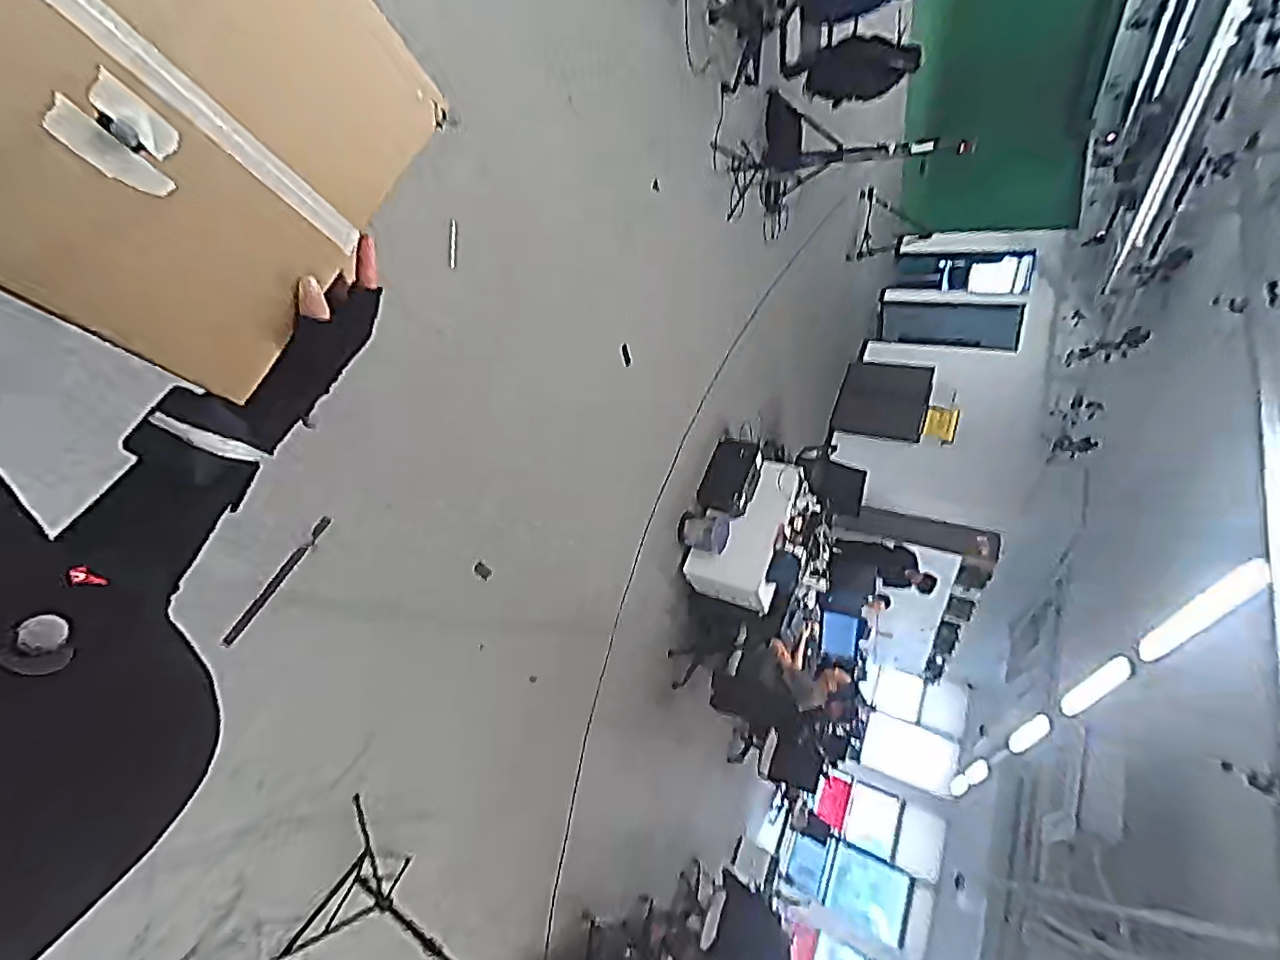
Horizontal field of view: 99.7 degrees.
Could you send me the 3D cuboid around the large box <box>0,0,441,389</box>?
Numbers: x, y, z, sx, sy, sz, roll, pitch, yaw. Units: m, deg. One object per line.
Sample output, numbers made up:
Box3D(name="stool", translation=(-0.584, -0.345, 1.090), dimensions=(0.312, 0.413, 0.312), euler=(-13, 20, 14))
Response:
Box3D(name="large box", translation=(-0.445, -0.320, 0.375), dimensions=(0.320, 0.320, 0.408), euler=(-62, 147, -11))
